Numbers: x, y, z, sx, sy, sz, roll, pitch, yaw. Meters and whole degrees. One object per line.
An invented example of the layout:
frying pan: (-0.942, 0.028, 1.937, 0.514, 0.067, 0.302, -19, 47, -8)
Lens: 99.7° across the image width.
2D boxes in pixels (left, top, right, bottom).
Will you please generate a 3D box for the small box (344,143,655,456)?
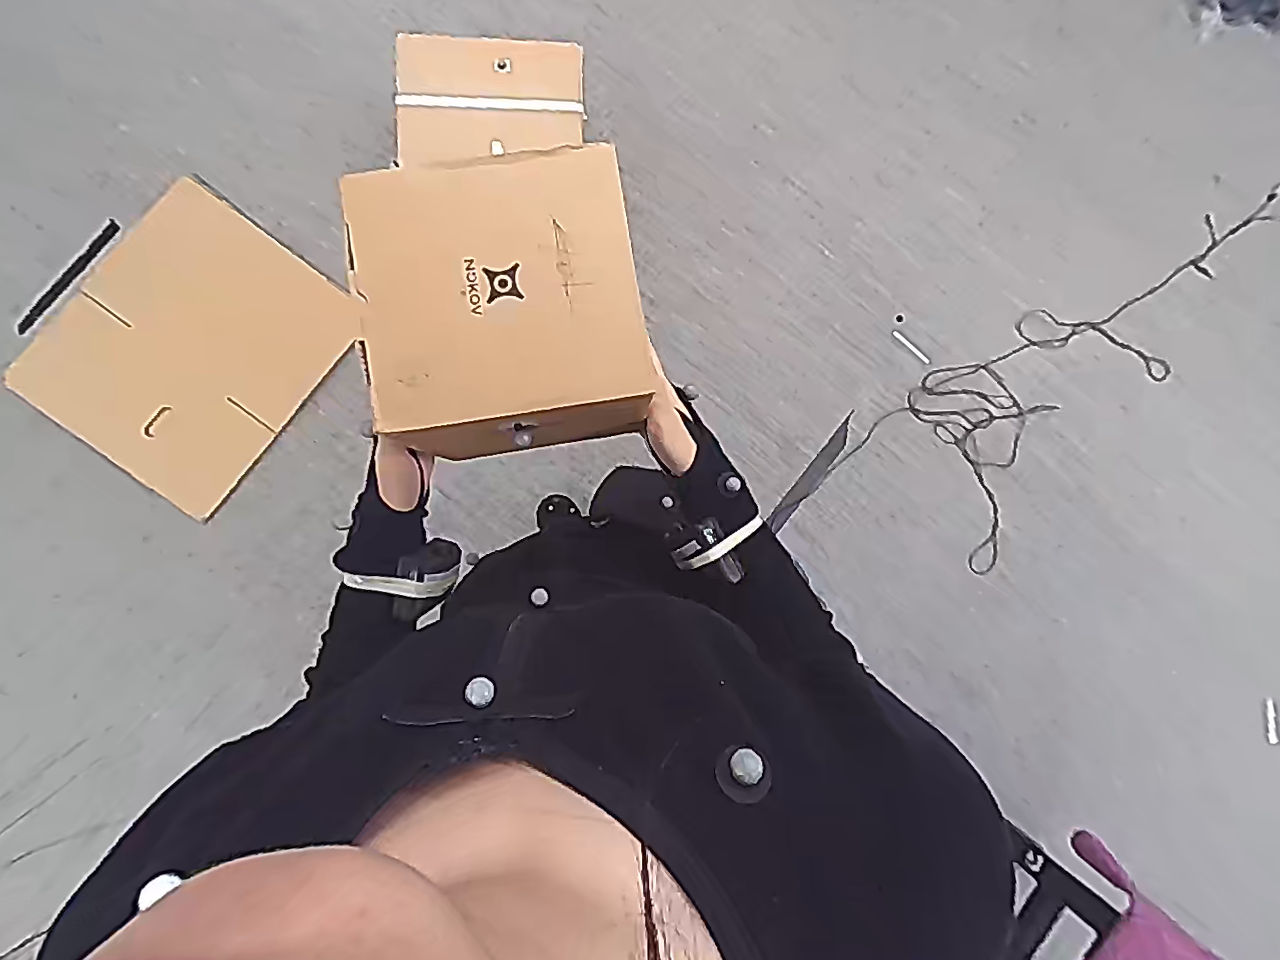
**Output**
small box: (-0.090, -0.117, 0.414, 0.179, 0.176, 0.168, -9, 88, -4)
